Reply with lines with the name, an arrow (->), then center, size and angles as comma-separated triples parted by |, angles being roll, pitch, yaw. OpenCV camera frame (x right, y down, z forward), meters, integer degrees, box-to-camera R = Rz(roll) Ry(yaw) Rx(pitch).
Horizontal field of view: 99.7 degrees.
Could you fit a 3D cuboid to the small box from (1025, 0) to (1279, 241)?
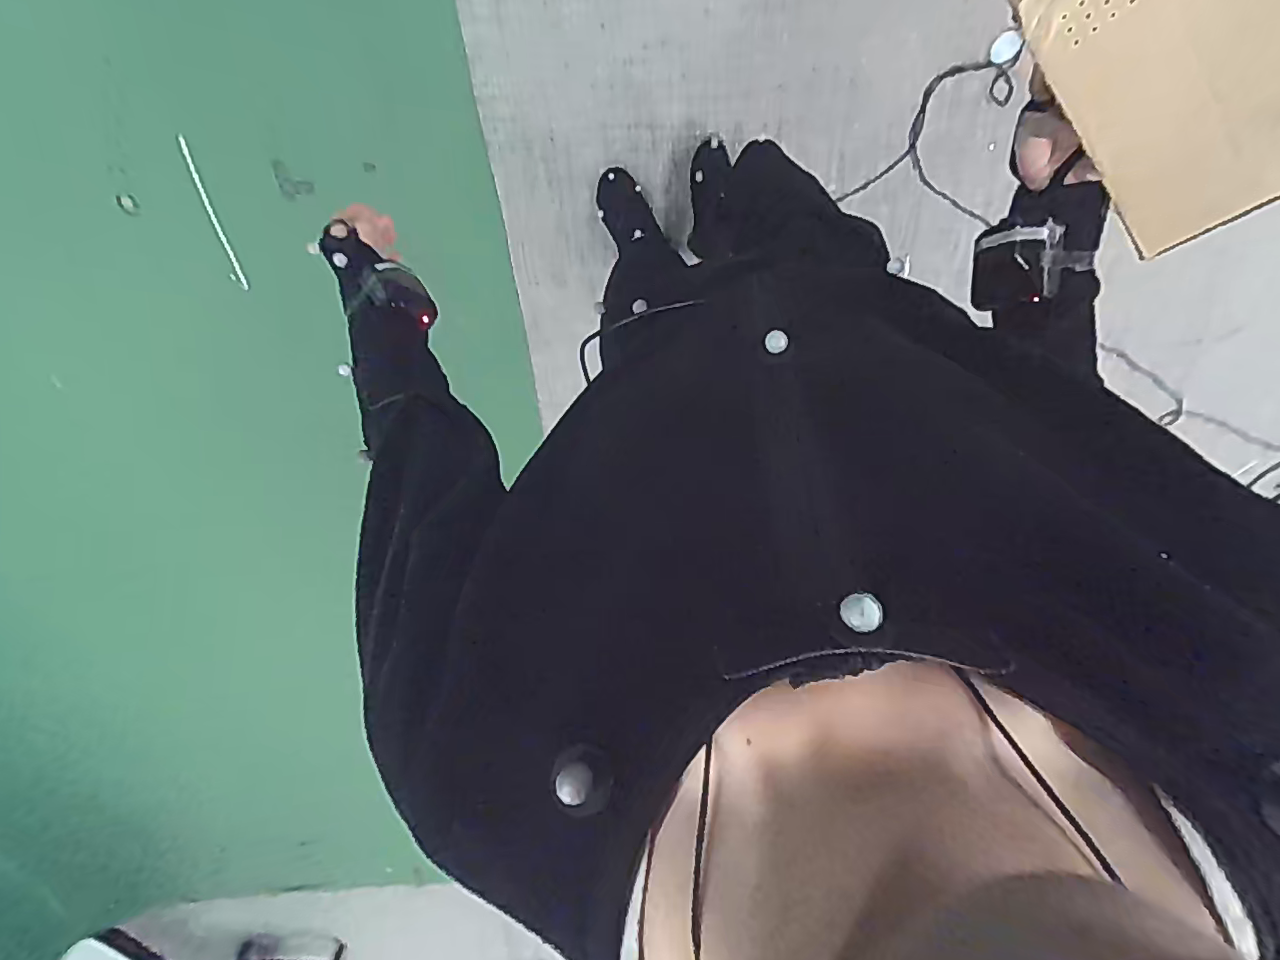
small box -> 0.290, -0.259, 0.239 | 0.176, 0.168, 0.179 | 35, 144, -26
